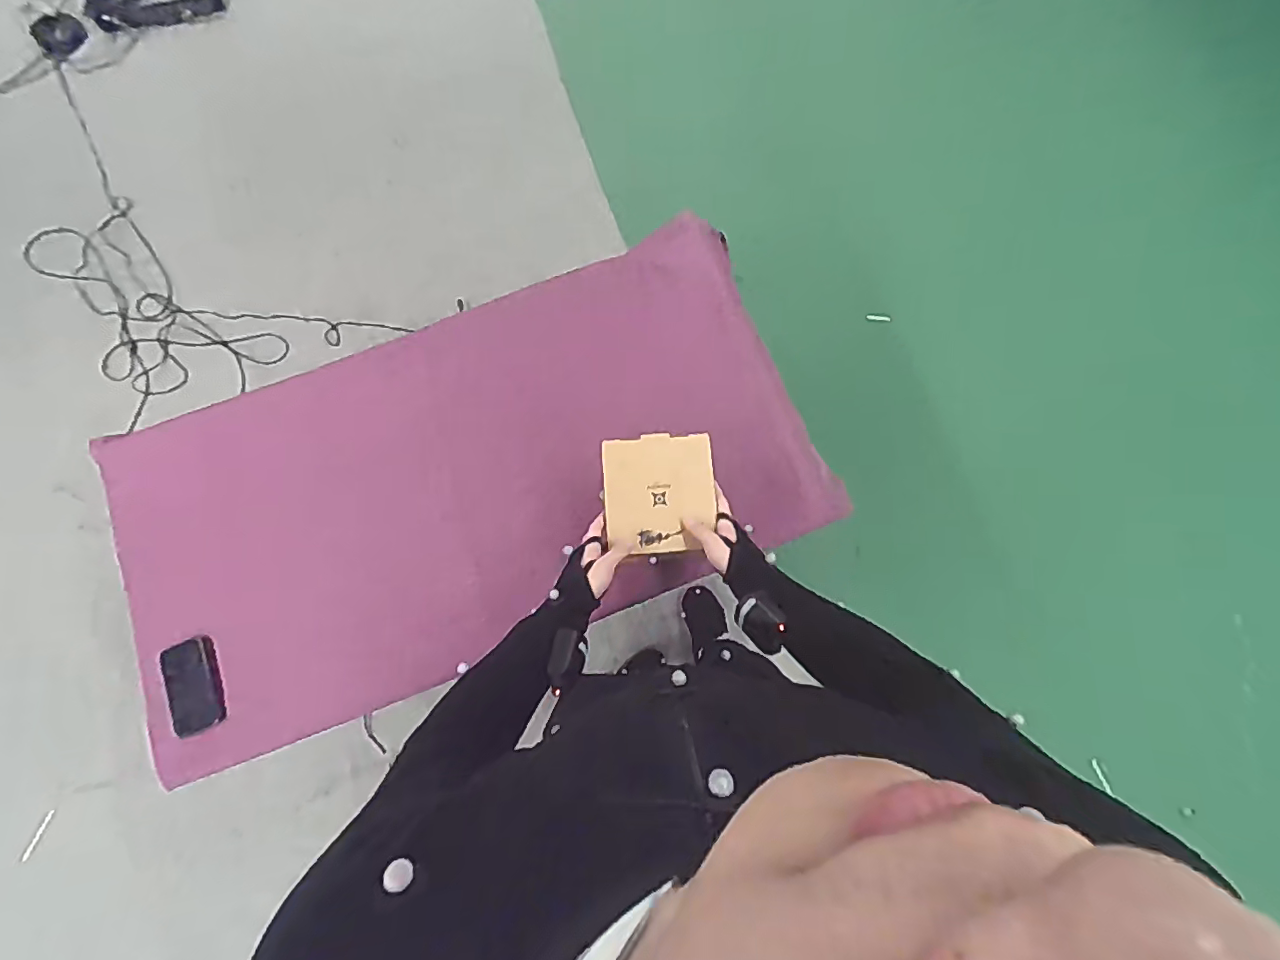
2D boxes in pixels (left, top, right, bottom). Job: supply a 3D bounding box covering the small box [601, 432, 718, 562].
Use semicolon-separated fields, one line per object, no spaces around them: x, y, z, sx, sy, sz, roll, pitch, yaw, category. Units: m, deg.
0.027;0.034;0.865;0.168;0.176;0.179;-4;78;0;small box
